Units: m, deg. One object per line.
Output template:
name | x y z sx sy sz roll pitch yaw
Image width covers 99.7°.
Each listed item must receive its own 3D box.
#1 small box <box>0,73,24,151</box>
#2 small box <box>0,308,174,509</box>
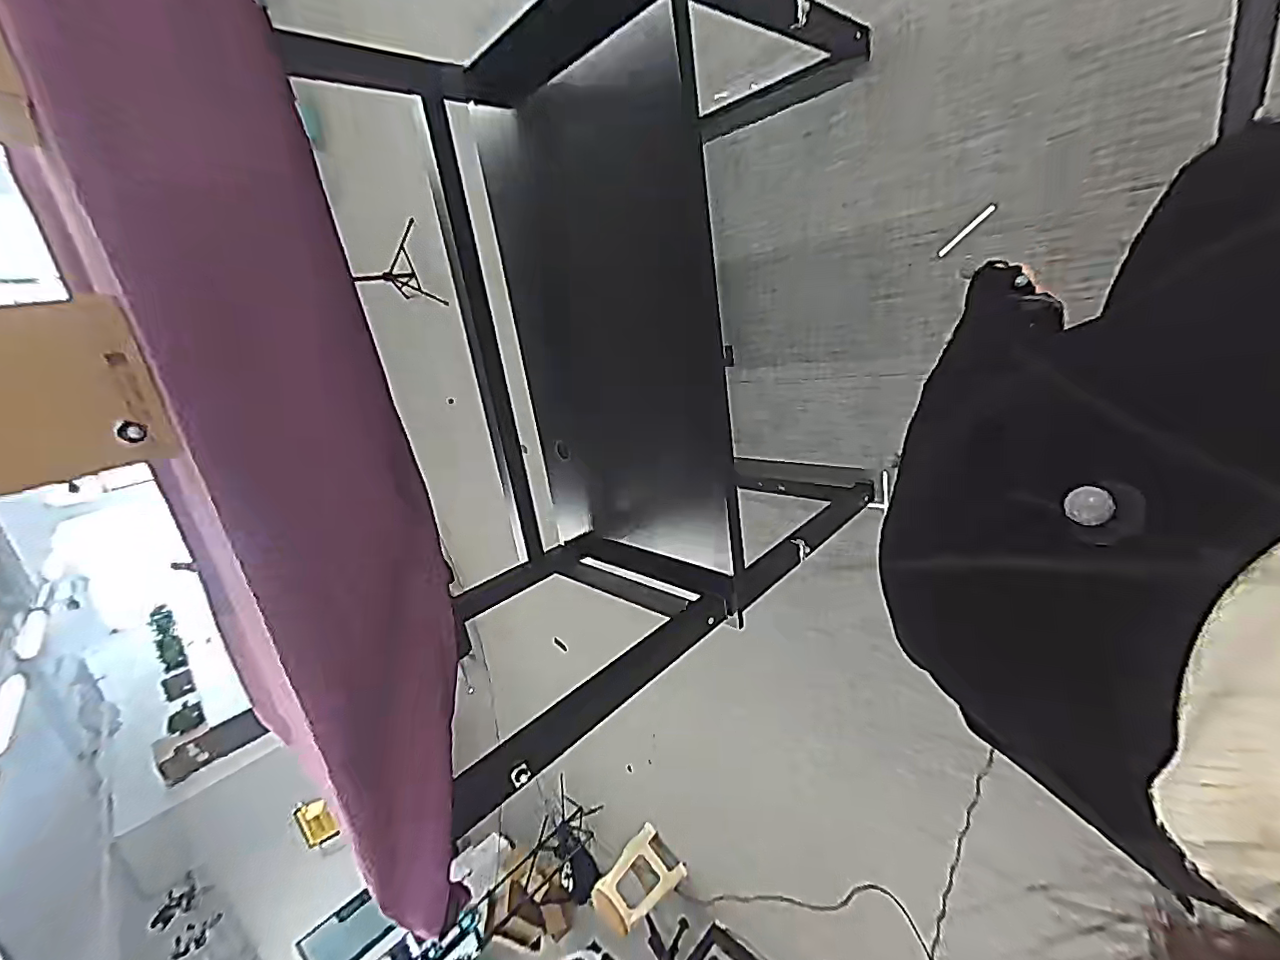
small box | -0.654 -0.379 0.437 0.179 0.176 0.168 14 120 43
small box | -0.613 -0.071 0.553 0.179 0.176 0.168 3 112 48
